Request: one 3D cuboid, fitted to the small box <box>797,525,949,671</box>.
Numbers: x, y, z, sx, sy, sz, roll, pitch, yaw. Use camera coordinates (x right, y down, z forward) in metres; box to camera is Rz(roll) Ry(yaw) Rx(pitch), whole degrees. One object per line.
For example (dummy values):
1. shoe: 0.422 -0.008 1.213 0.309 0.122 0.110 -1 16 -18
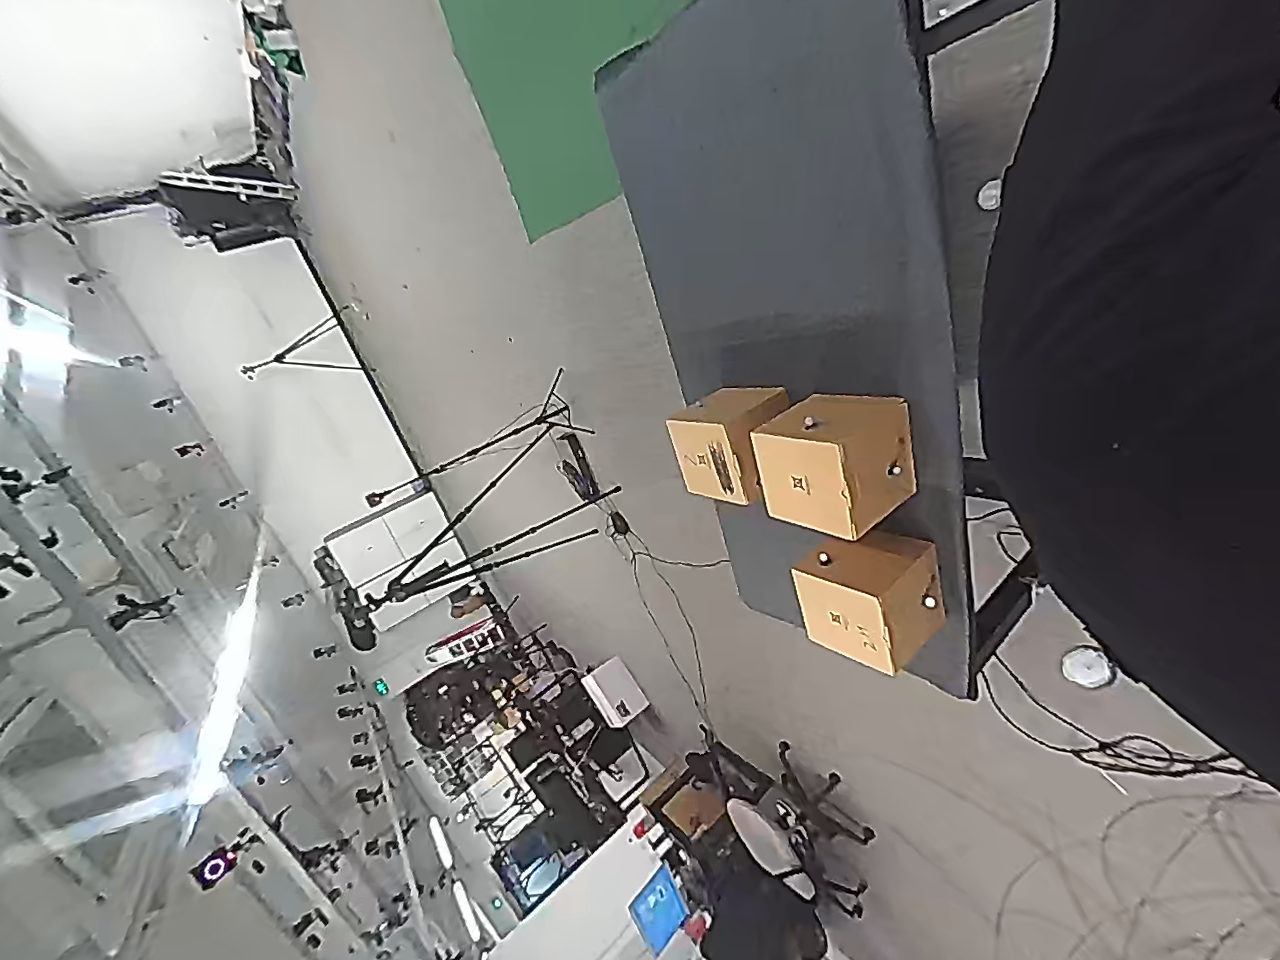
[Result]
1. small box: 0.415 0.197 0.963 0.179 0.176 0.168 12 127 55
